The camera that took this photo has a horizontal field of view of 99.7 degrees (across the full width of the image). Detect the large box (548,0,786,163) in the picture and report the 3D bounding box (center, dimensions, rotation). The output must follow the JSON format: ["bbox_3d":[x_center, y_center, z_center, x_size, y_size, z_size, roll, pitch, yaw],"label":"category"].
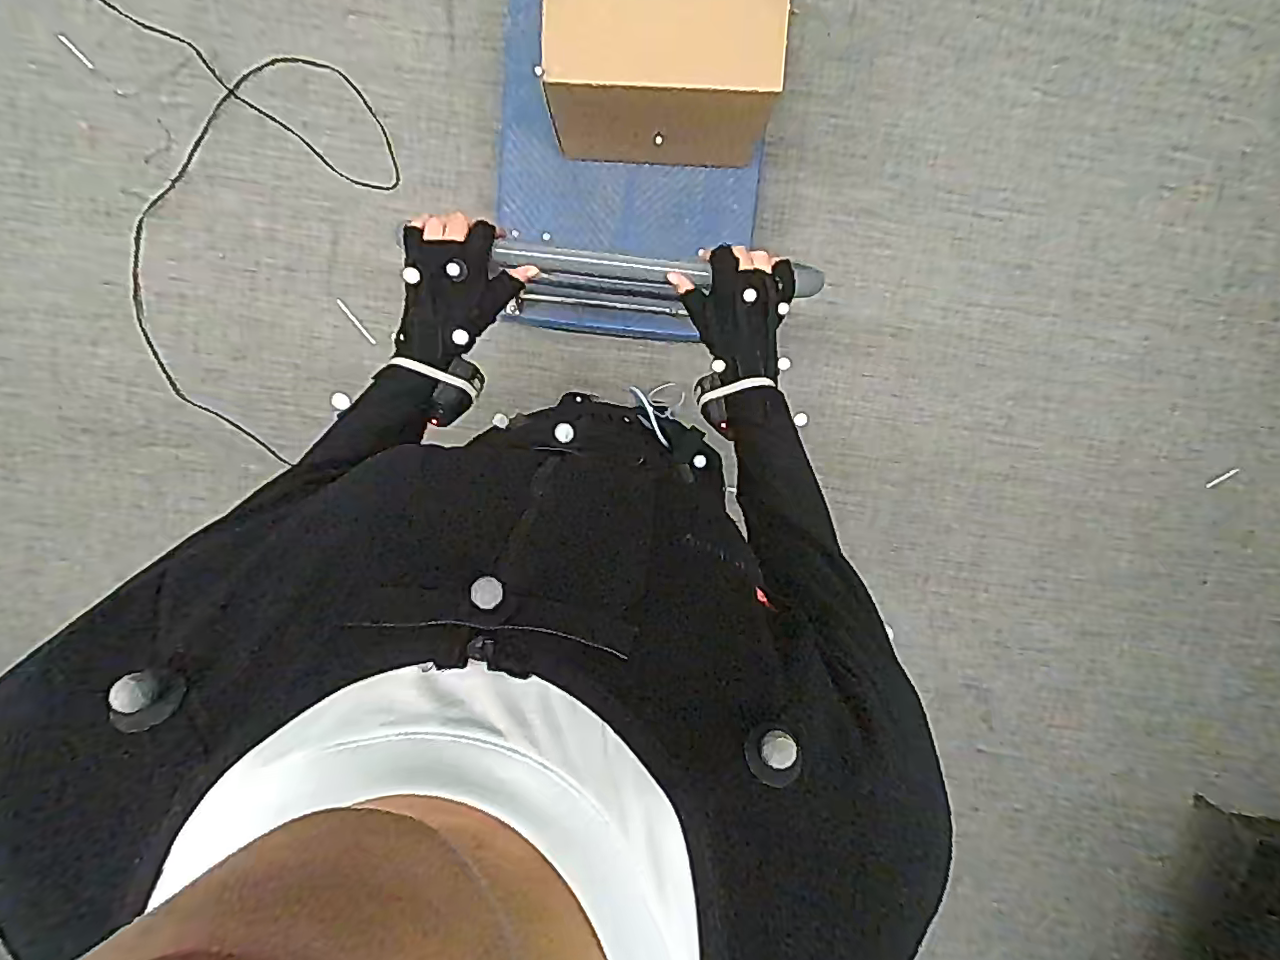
[{"bbox_3d":[0.048,-0.832,1.038,0.408,0.320,0.320,1,99,0],"label":"large box"}]
